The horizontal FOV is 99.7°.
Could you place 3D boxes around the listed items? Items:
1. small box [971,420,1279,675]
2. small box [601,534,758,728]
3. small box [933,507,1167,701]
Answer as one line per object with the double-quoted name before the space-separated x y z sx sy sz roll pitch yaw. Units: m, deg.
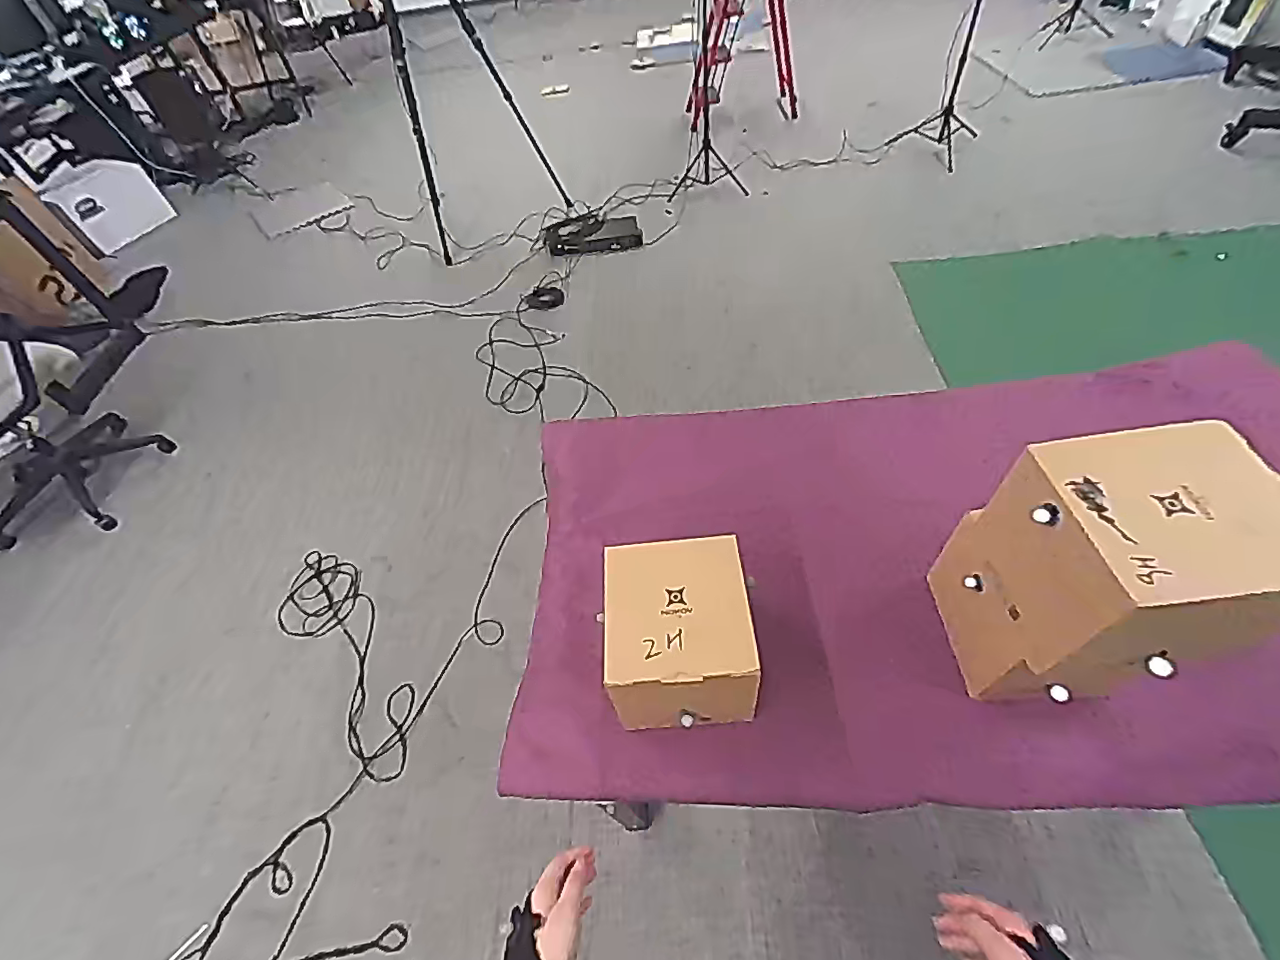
"small box" 0.452 0.068 0.500 0.179 0.176 0.168 -6 51 3
"small box" 0.047 0.189 0.671 0.168 0.176 0.179 -6 51 4
"small box" 0.479 0.147 0.644 0.168 0.176 0.179 -4 52 6
